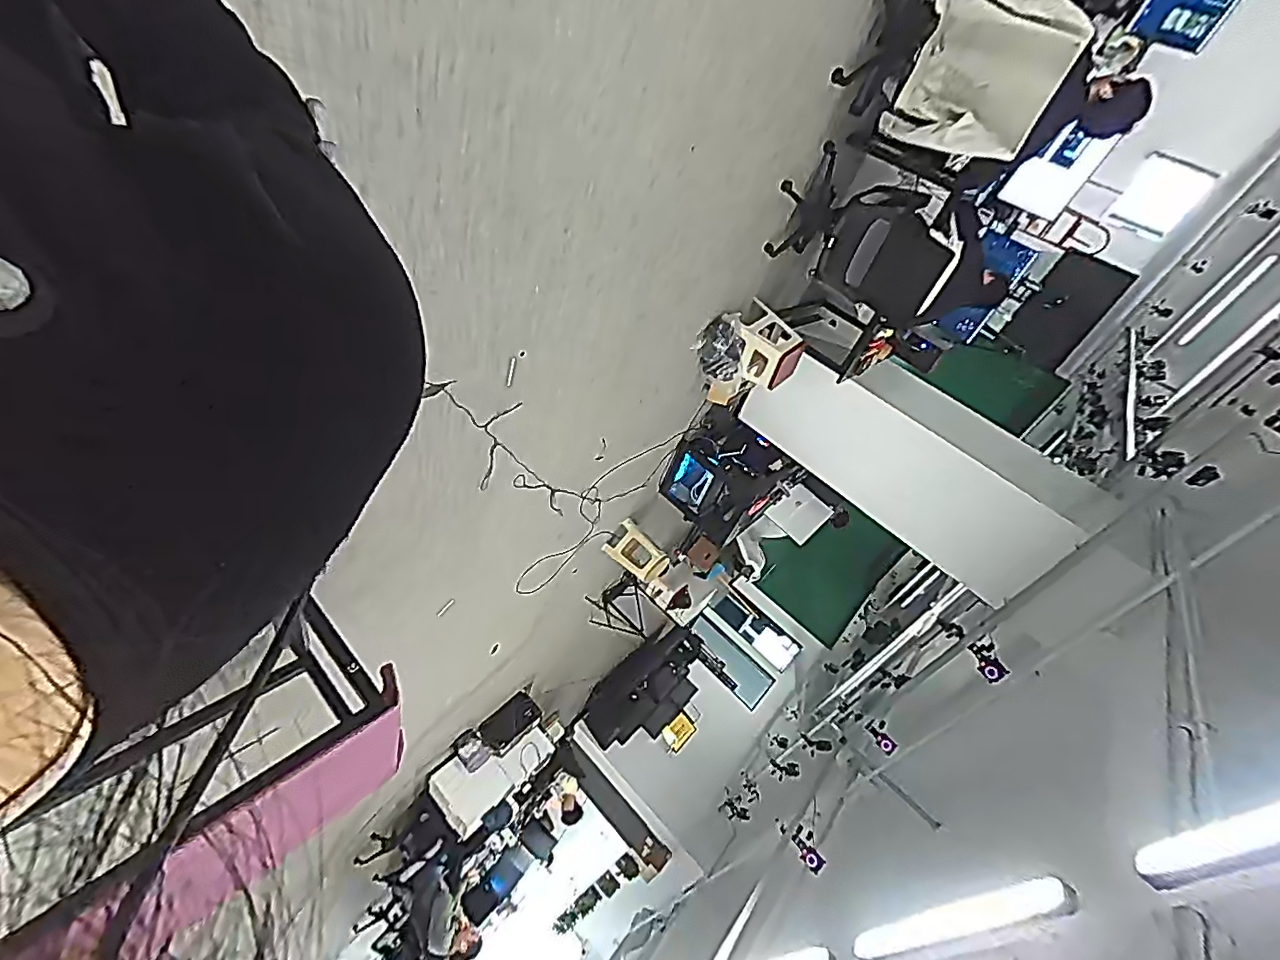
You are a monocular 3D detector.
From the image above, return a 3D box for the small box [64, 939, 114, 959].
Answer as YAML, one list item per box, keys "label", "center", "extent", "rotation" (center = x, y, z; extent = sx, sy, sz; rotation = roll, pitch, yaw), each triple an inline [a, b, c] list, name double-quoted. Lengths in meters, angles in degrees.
- label: "small box"
  center: [-1.361, 1.257, 1.282]
  extent: [0.179, 0.176, 0.168]
  rotation: [-28, 152, -46]

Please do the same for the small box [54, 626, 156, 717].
- label: "small box"
  center: [-1.625, 0.572, 1.644]
  extent: [0.168, 0.176, 0.179]
  rotation: [-26, 150, -45]
